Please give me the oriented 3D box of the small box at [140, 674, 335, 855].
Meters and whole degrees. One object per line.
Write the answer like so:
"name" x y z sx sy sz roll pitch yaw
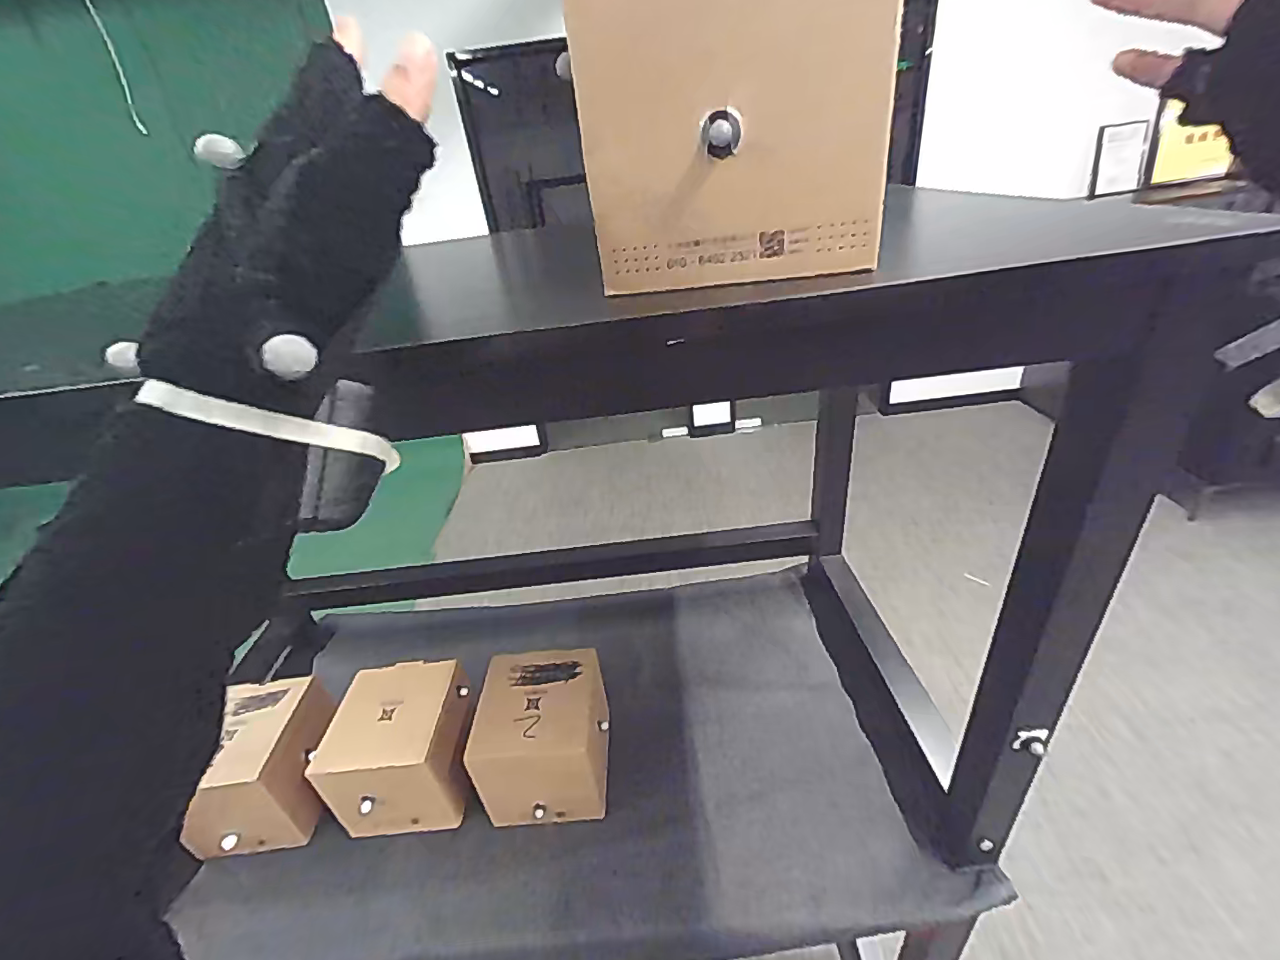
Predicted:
"small box" -0.581 0.430 0.827 0.168 0.176 0.179 -8 30 0

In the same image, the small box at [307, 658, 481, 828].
"small box" -0.356 0.403 0.826 0.168 0.176 0.179 -6 29 2

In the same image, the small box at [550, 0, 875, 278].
"small box" 0.053 -0.239 0.364 0.168 0.176 0.179 -2 30 9
